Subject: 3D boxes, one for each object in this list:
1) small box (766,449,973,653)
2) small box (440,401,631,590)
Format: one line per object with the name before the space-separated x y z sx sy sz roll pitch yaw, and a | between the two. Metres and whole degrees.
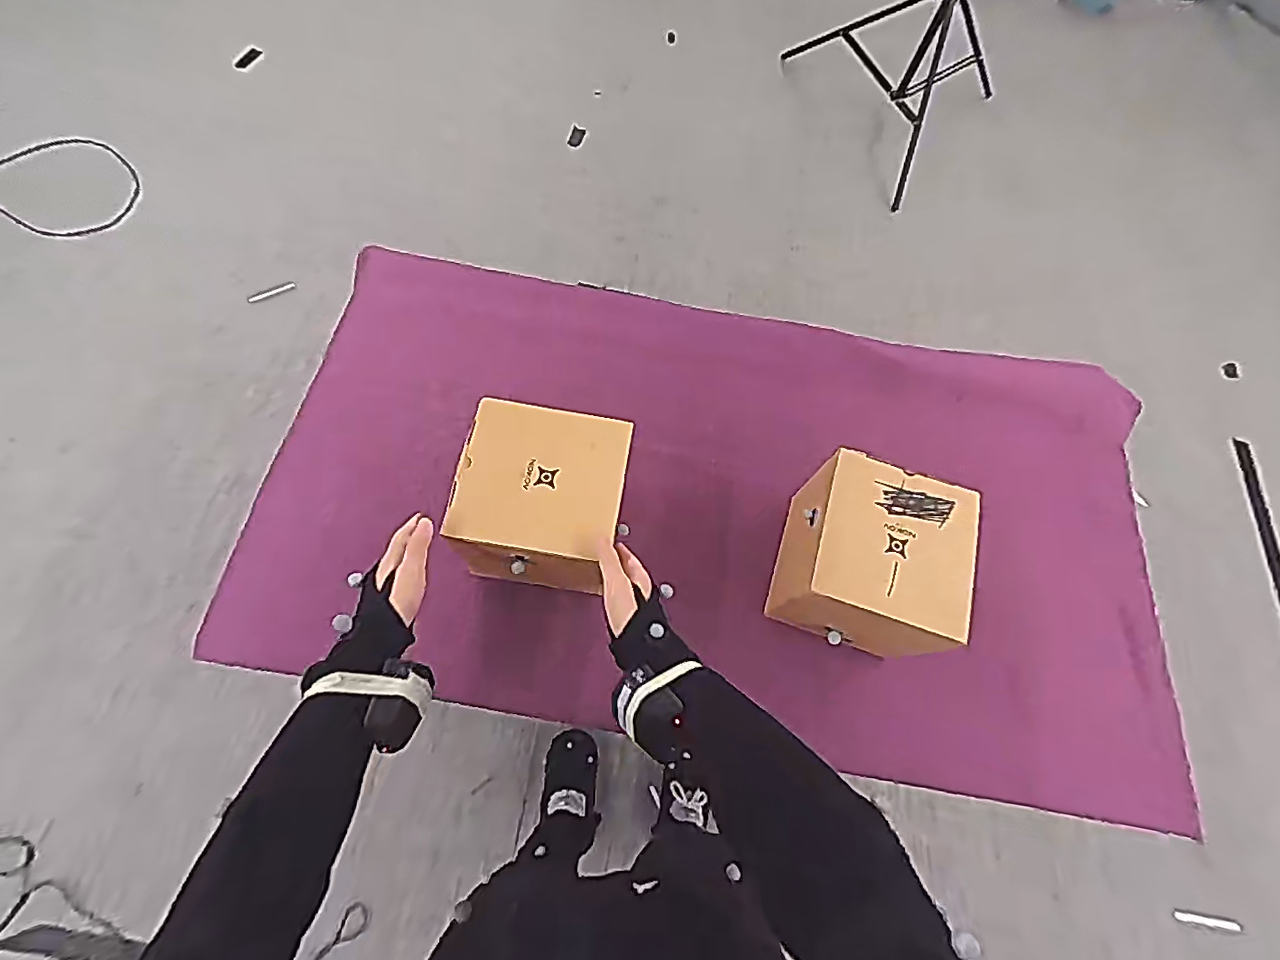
small box | 0.266 0.095 0.655 0.168 0.176 0.179 19 68 3
small box | -0.113 0.029 0.652 0.179 0.176 0.168 9 67 -1
